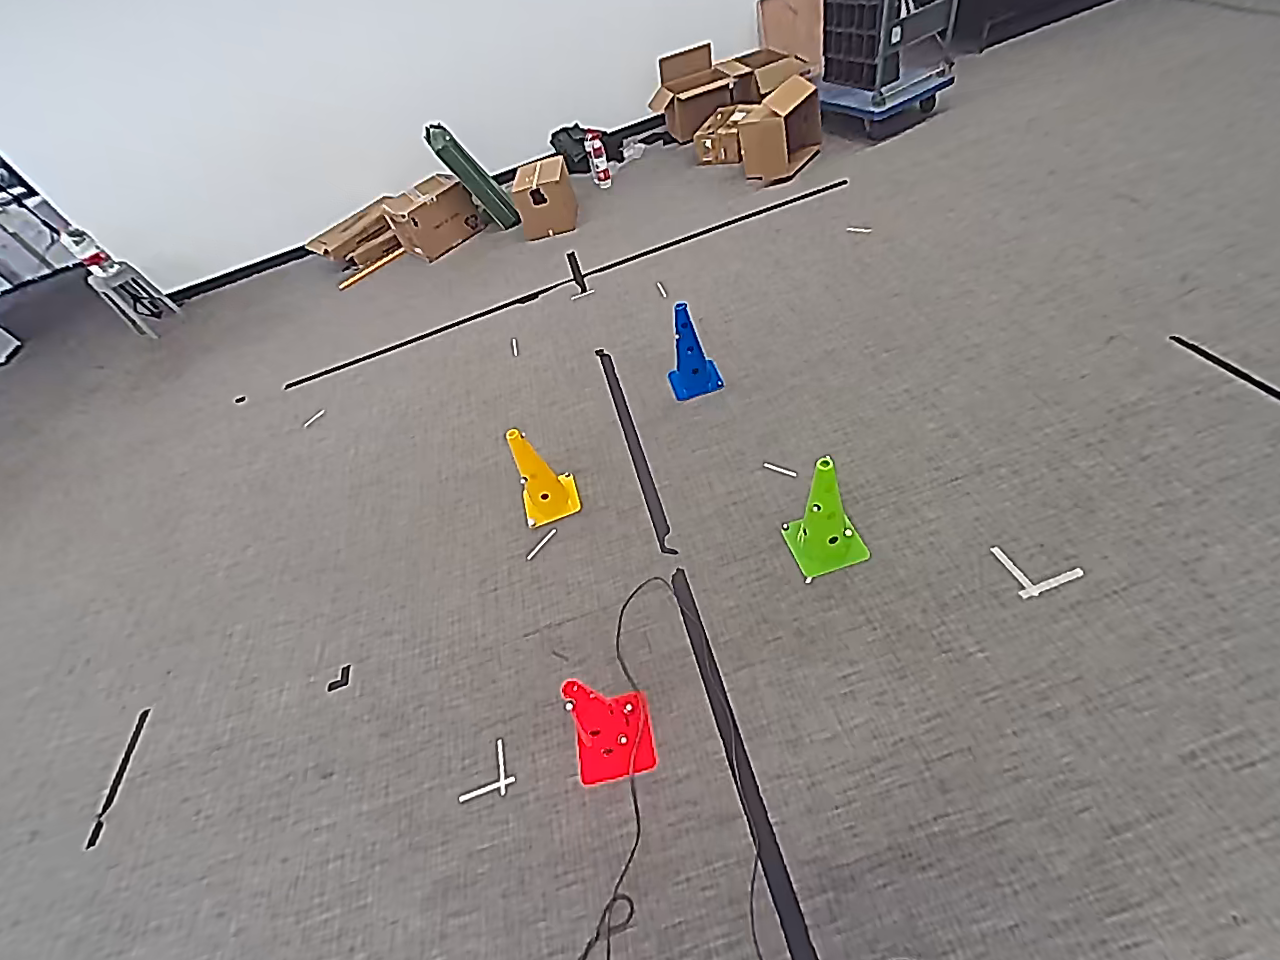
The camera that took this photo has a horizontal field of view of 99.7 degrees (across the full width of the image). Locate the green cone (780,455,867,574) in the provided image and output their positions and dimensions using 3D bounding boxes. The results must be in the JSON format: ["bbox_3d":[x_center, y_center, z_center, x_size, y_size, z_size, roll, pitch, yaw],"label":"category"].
[{"bbox_3d":[0.508,0.071,1.492,0.202,0.368,0.200,-18,47,0],"label":"green cone"}]

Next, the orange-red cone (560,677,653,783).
[{"bbox_3d":[-0.113,0.553,1.279,0.199,0.360,0.198,-17,46,5],"label":"orange-red cone"}]

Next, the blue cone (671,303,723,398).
[{"bbox_3d":[0.195,-0.520,2.124,0.192,0.380,0.193,-16,48,3],"label":"blue cone"}]
